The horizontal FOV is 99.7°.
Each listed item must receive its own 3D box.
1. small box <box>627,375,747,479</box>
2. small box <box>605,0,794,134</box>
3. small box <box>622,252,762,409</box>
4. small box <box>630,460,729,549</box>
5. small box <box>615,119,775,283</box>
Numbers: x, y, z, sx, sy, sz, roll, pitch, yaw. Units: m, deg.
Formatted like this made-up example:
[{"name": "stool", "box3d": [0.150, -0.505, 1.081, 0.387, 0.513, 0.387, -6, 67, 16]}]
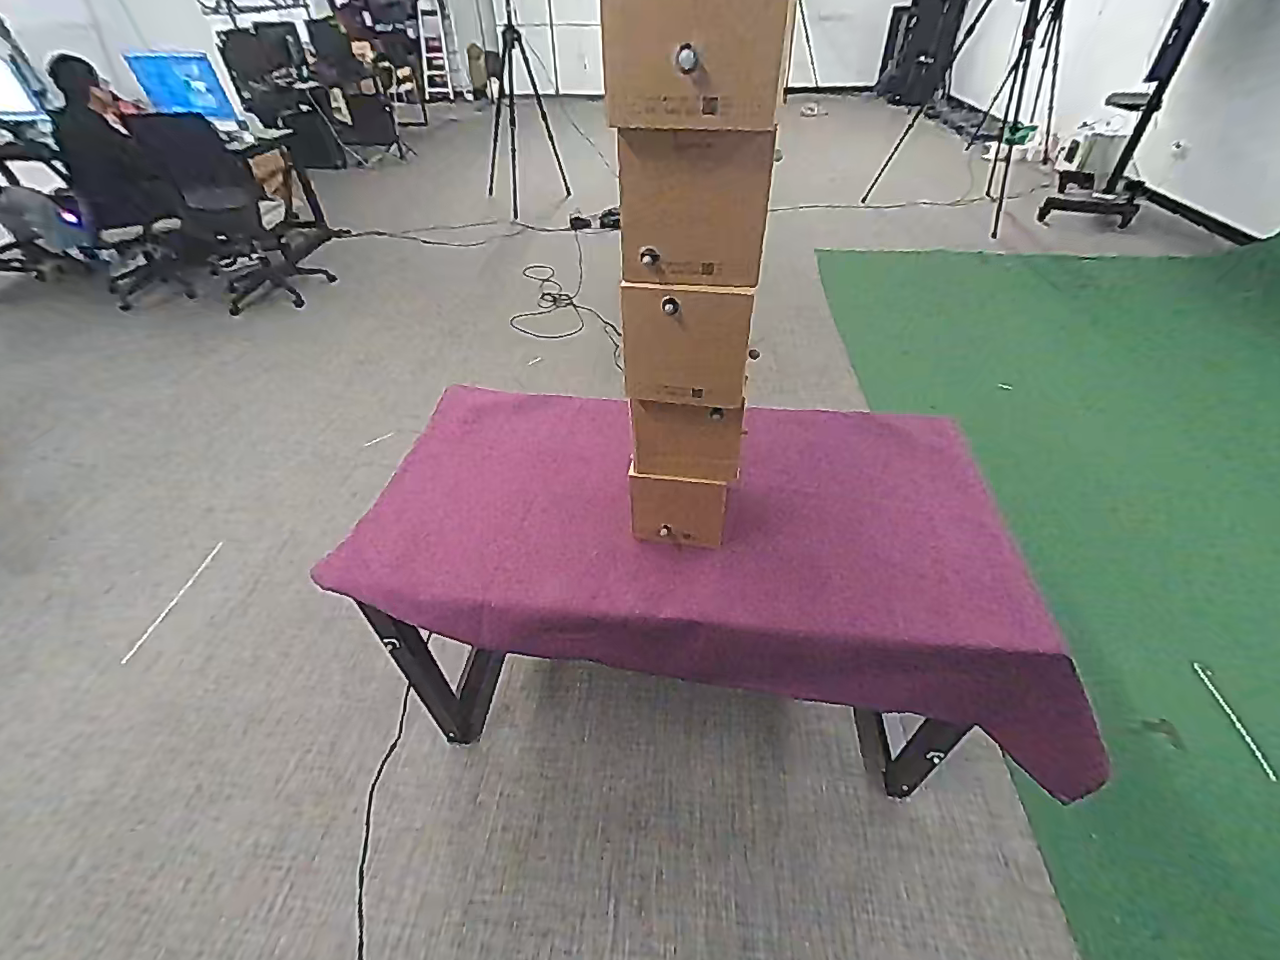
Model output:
[{"name": "small box", "box3d": [0.081, -0.118, 0.888, 0.179, 0.176, 0.168, 5, 43, 8]}, {"name": "small box", "box3d": [0.063, -0.456, 0.528, 0.168, 0.176, 0.179, 8, 44, 11]}, {"name": "small box", "box3d": [0.074, -0.222, 0.760, 0.168, 0.176, 0.179, 7, 43, 10]}, {"name": "small box", "box3d": [0.079, 0.001, 0.997, 0.168, 0.176, 0.179, 6, 44, 9]}, {"name": "small box", "box3d": [0.069, -0.353, 0.659, 0.168, 0.176, 0.179, 4, 42, 7]}]
